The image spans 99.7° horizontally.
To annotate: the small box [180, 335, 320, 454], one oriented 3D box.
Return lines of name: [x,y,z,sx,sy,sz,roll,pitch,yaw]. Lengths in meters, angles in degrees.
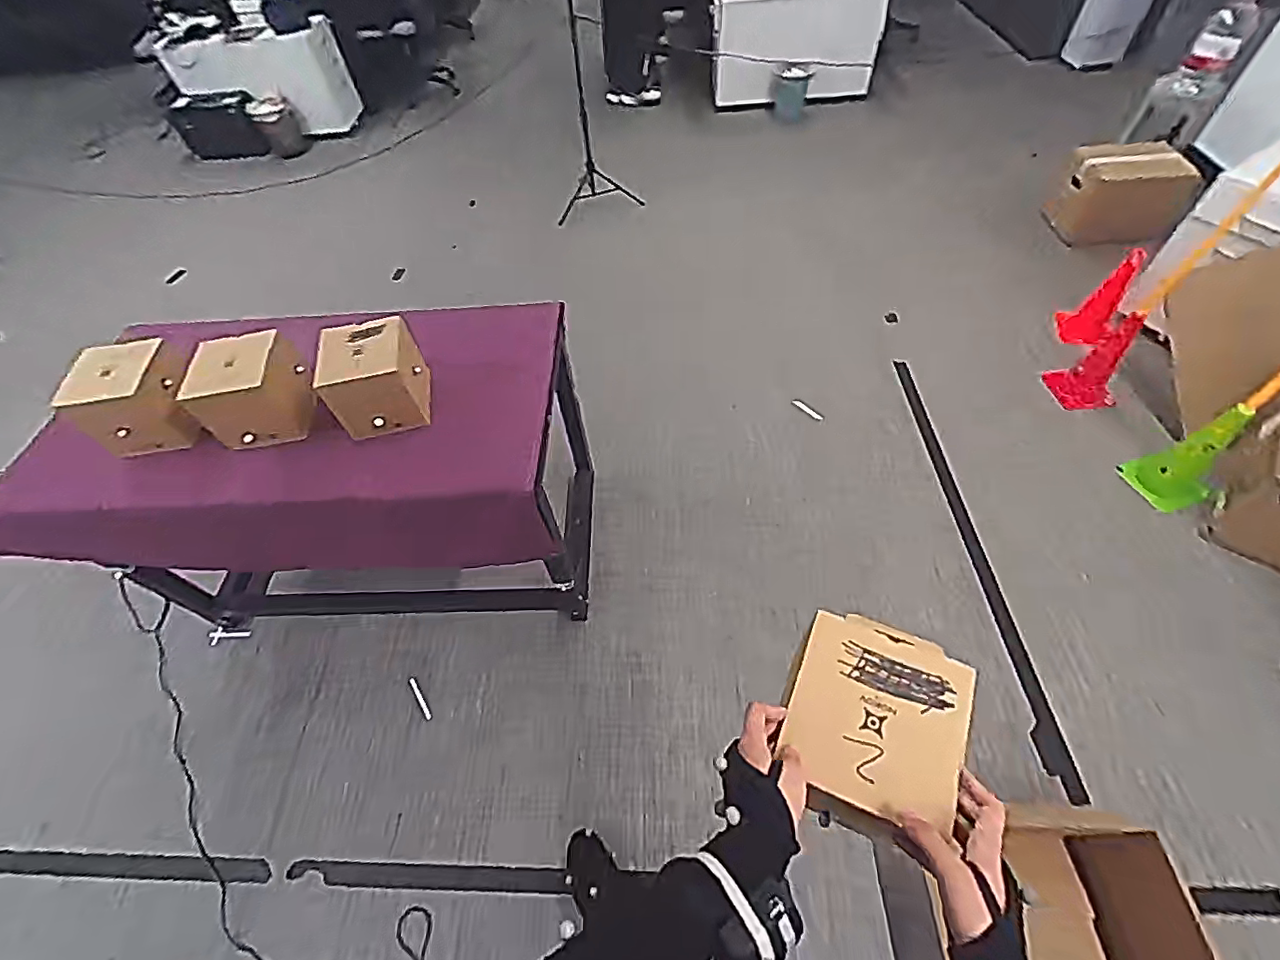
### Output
small box: [-0.829,-0.183,1.173,0.168,0.176,0.179,-10,54,-2]

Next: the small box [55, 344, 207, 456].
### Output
small box: [-1.081,-0.167,1.180,0.168,0.176,0.179,-9,54,-2]

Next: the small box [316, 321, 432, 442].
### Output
small box: [-0.563,-0.210,1.169,0.168,0.176,0.179,-13,55,-4]
